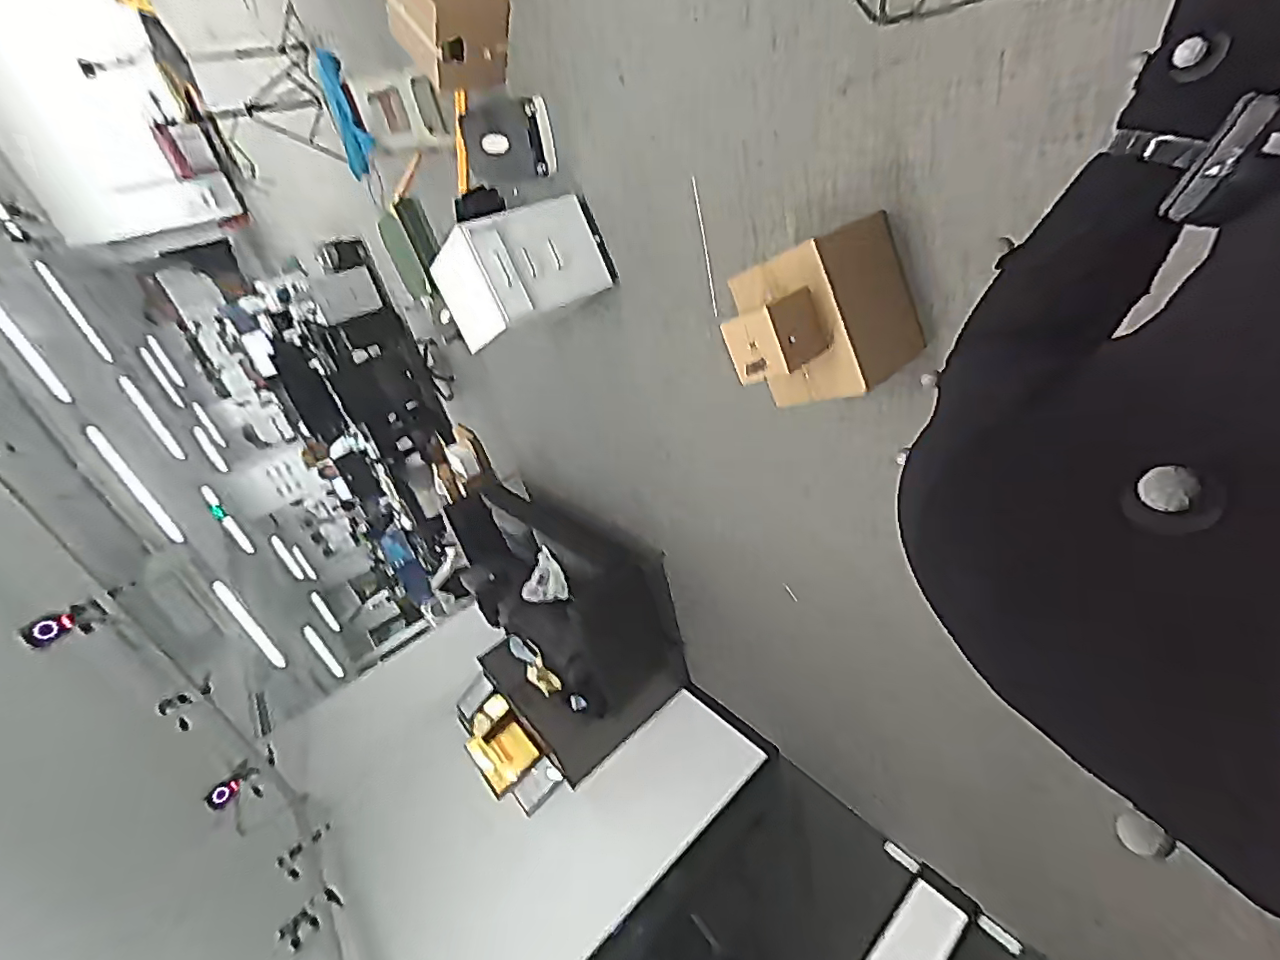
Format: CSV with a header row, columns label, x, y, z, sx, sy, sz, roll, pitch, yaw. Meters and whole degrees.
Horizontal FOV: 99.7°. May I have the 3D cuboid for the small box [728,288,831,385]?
label,x,y,z,sx,sy,sz,roll,pitch,yaw
small box,0.365,-0.370,1.401,0.168,0.176,0.179,-2,115,57
